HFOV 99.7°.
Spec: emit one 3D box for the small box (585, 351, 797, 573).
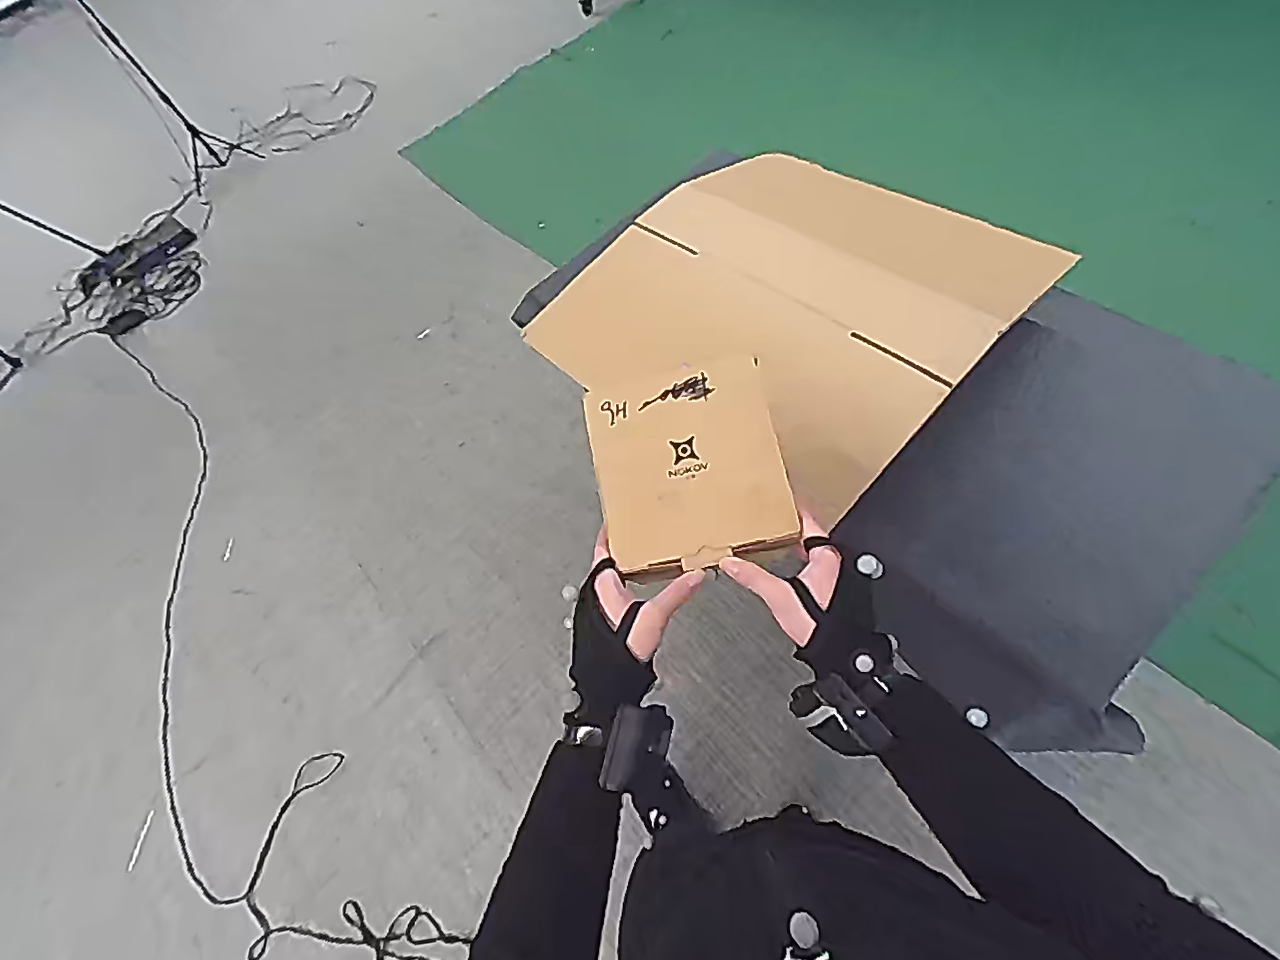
[{"bbox_3d":[0.056,-0.003,0.570,0.168,0.176,0.179,-15,74,6],"label":"small box"}]
